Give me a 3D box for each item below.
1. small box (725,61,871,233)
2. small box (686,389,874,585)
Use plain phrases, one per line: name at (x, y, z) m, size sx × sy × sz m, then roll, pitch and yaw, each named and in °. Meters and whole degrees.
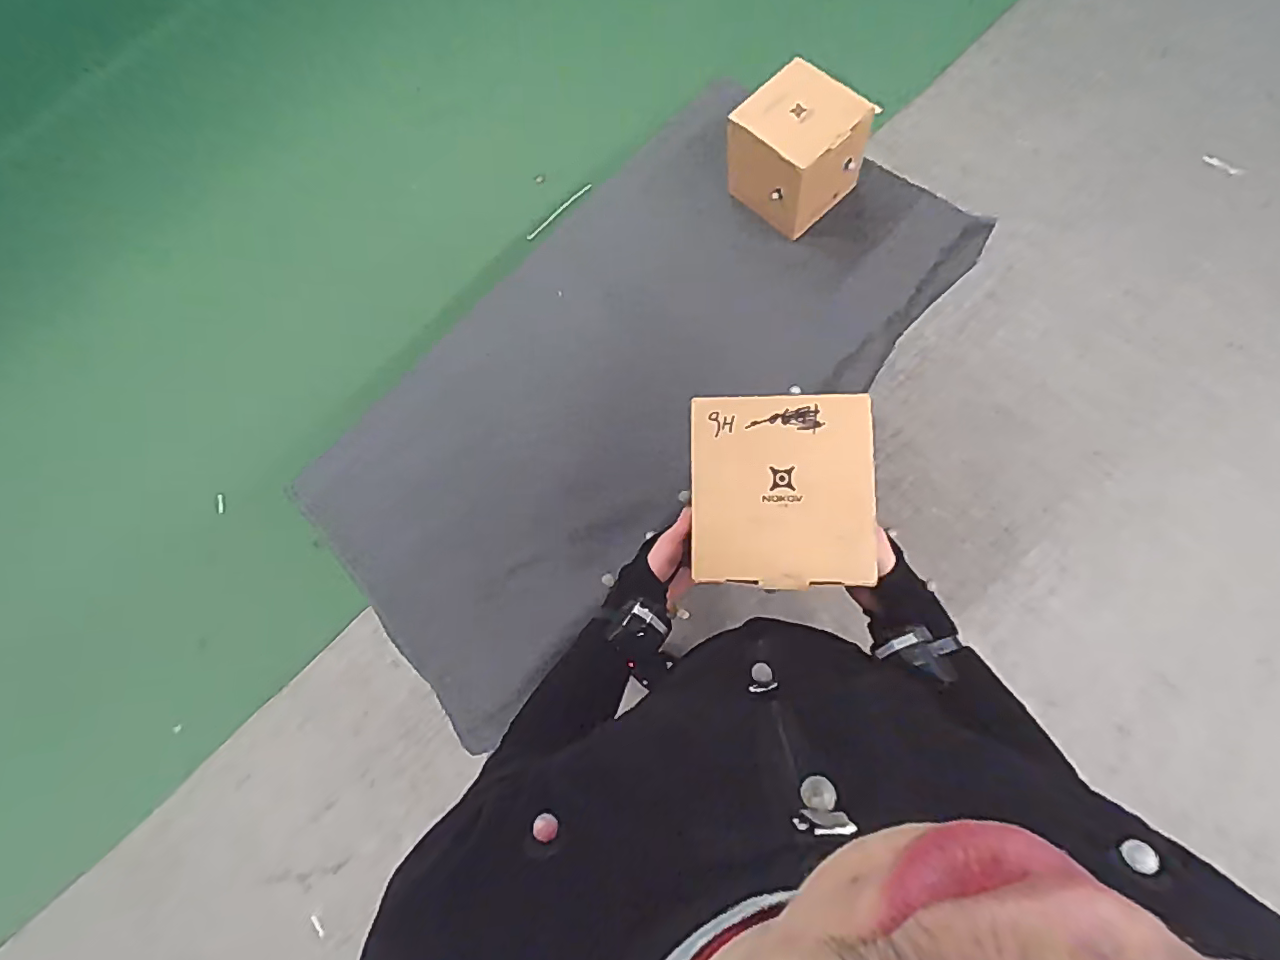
small box at (0.270, -0.575, 0.959) m, size 0.168 × 0.176 × 0.179 m, roll -42°, pitch 71°, yaw -5°
small box at (0.134, 0.010, 0.565) m, size 0.168 × 0.176 × 0.179 m, roll 0°, pitch 84°, yaw 6°
